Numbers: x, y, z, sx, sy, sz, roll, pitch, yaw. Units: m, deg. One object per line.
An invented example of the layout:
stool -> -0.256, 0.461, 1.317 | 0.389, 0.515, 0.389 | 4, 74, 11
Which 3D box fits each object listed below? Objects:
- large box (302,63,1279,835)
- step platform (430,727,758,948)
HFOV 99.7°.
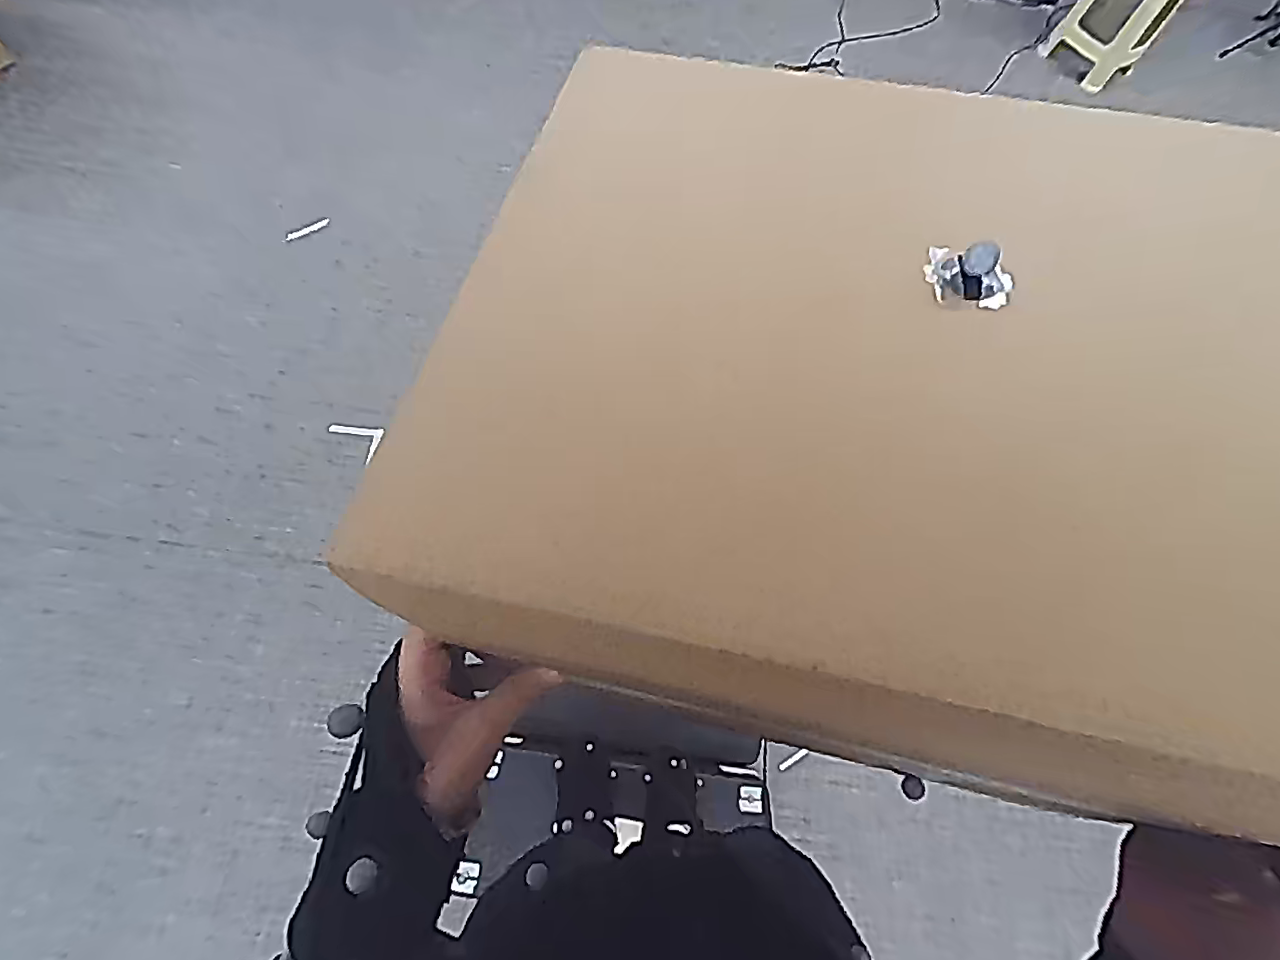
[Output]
large box -> 0.114, -0.007, 0.347 | 0.408, 0.320, 0.320 | 10, 66, 6
step platform -> -0.090, 0.762, 1.186 | 0.684, 0.204, 0.286 | 12, 68, 1
